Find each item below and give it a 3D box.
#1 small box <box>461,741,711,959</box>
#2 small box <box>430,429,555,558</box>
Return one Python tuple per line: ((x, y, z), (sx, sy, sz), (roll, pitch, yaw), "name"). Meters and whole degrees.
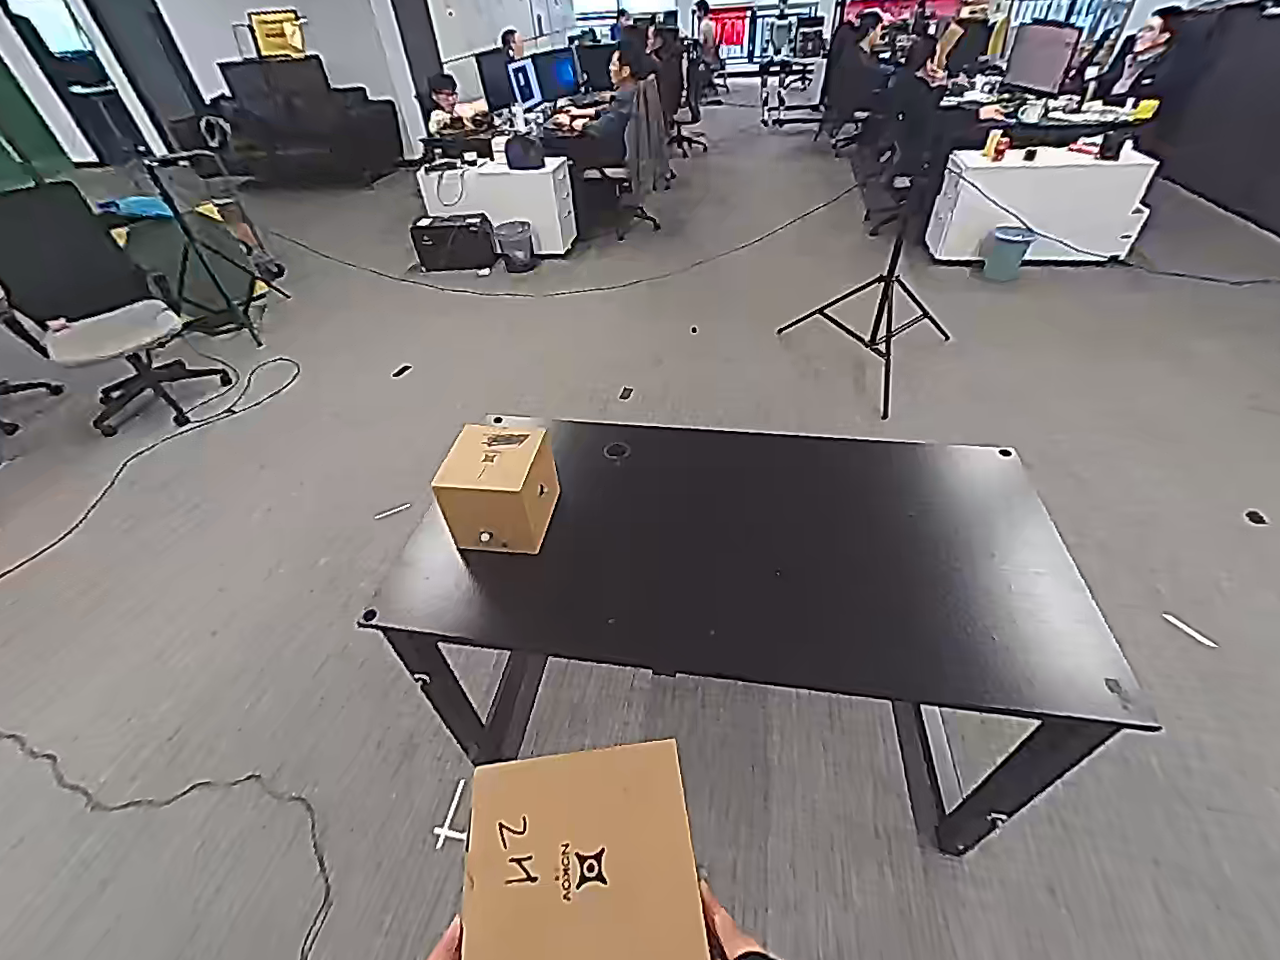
((-0.043, 0.350, 0.473), (0.179, 0.176, 0.168), (-7, 47, -3), "small box")
((-0.268, 0.024, 1.033), (0.168, 0.176, 0.179), (3, 44, 8), "small box")
